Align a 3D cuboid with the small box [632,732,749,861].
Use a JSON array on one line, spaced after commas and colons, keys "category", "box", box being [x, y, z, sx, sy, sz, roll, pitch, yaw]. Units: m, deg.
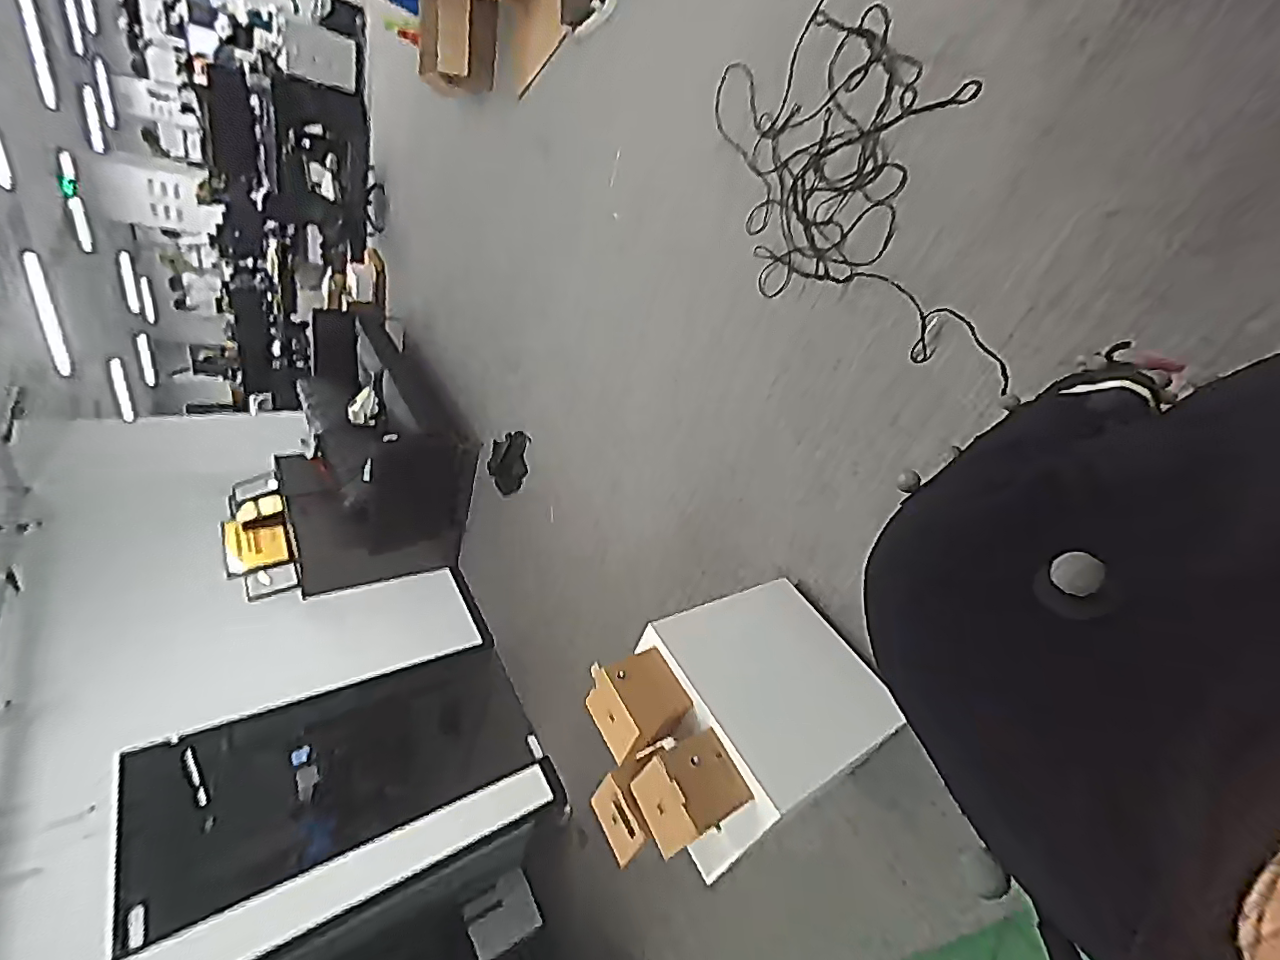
[{"category": "small box", "box": [0.114, 0.689, 1.193, 0.168, 0.176, 0.179, 55, 137, 34]}]
